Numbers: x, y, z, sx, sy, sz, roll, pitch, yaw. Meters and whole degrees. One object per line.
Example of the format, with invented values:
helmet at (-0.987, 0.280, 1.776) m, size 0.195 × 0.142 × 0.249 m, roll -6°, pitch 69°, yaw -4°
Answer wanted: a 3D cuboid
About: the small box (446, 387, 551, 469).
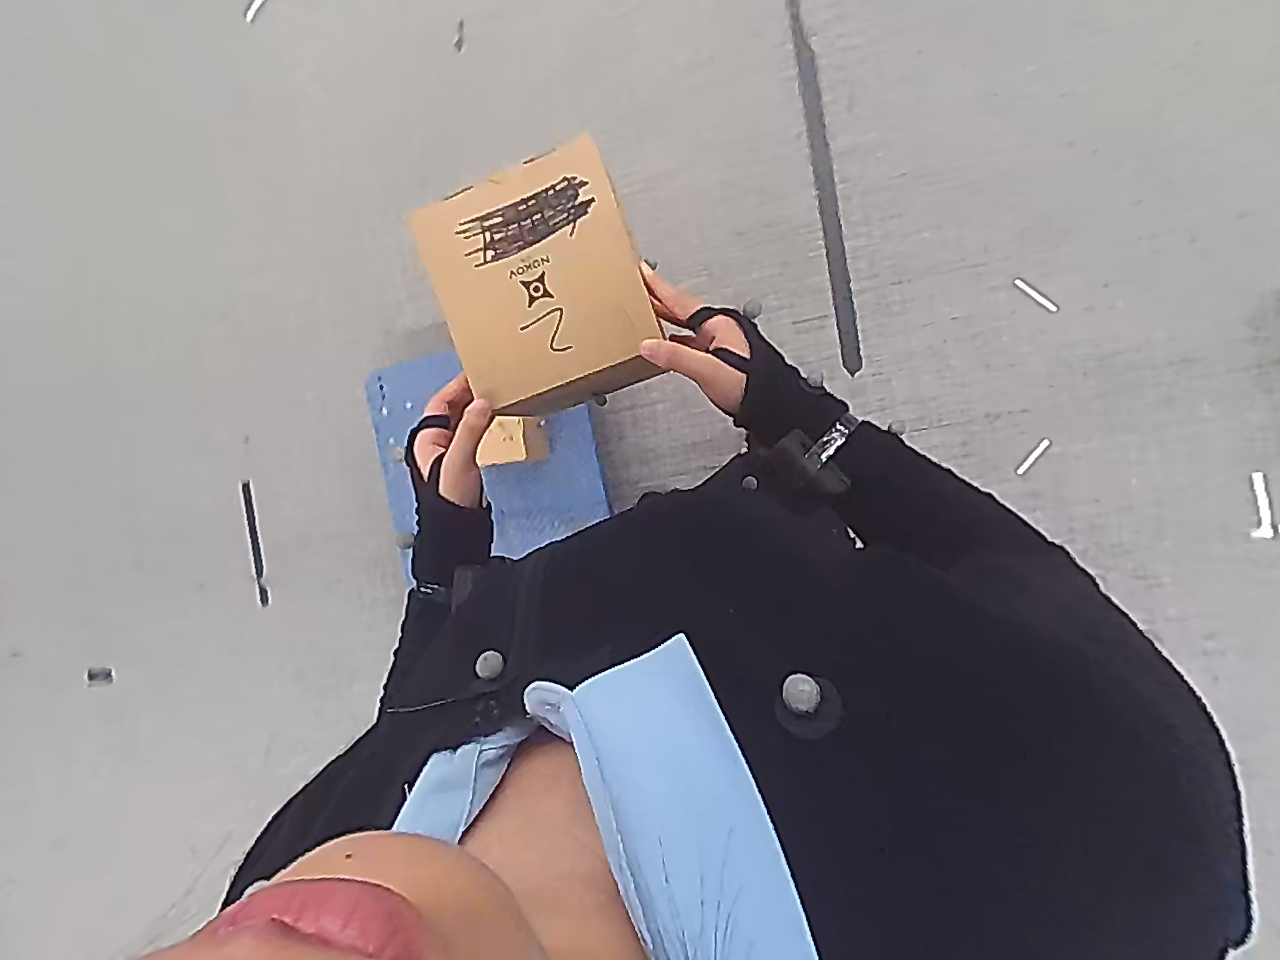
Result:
small box at (-0.326, -0.117, 1.272) m, size 0.179 × 0.176 × 0.168 m, roll -8°, pitch 92°, yaw 9°
